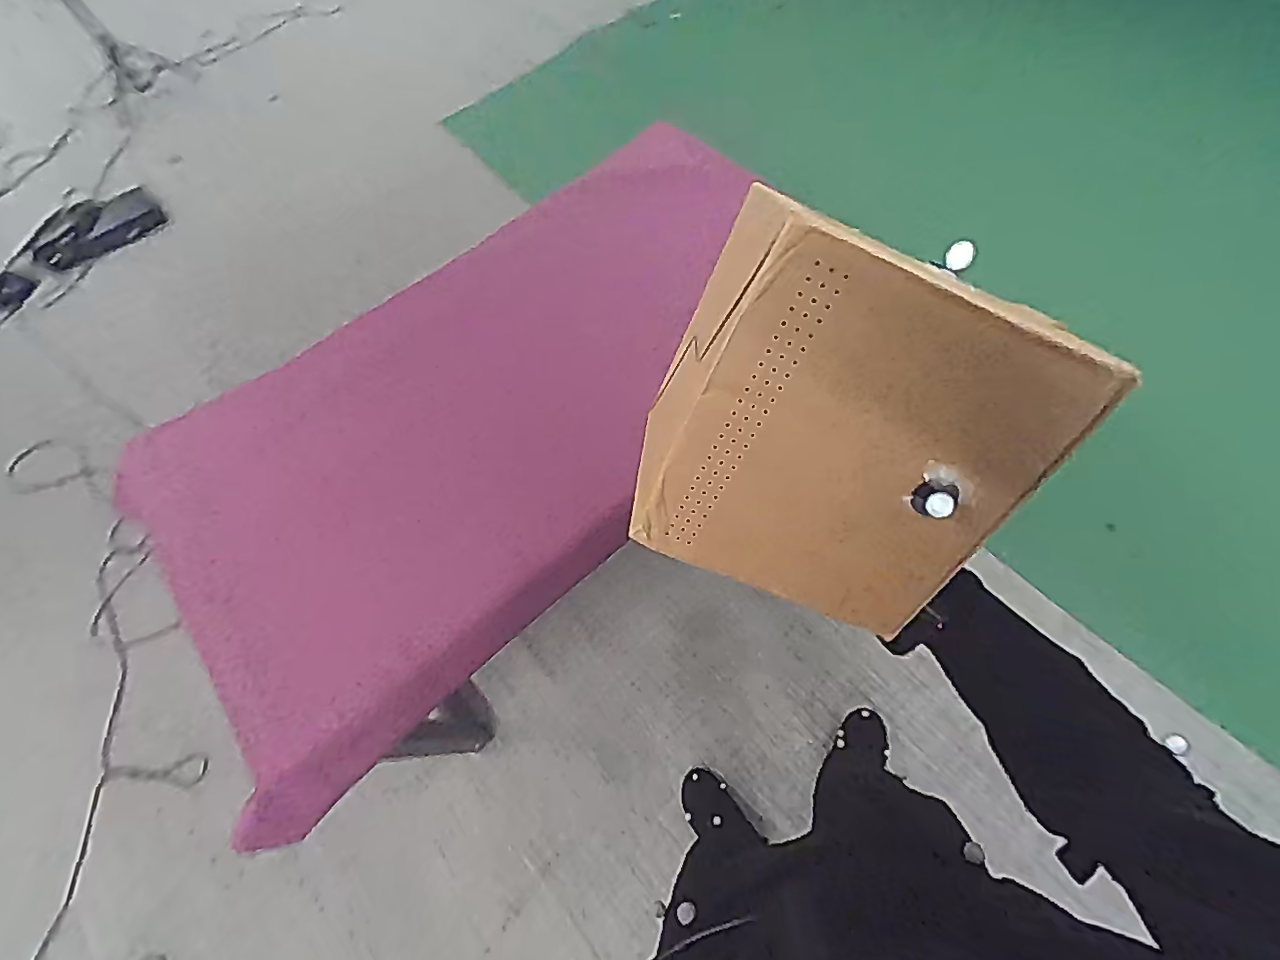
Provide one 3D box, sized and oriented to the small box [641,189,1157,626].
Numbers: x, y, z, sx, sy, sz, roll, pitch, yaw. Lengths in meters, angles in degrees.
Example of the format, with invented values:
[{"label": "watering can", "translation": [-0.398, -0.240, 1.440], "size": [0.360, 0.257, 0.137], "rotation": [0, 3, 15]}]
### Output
[{"label": "small box", "translation": [0.113, -0.053, 0.321], "size": [0.176, 0.179, 0.168], "rotation": [24, 31, -6]}]
